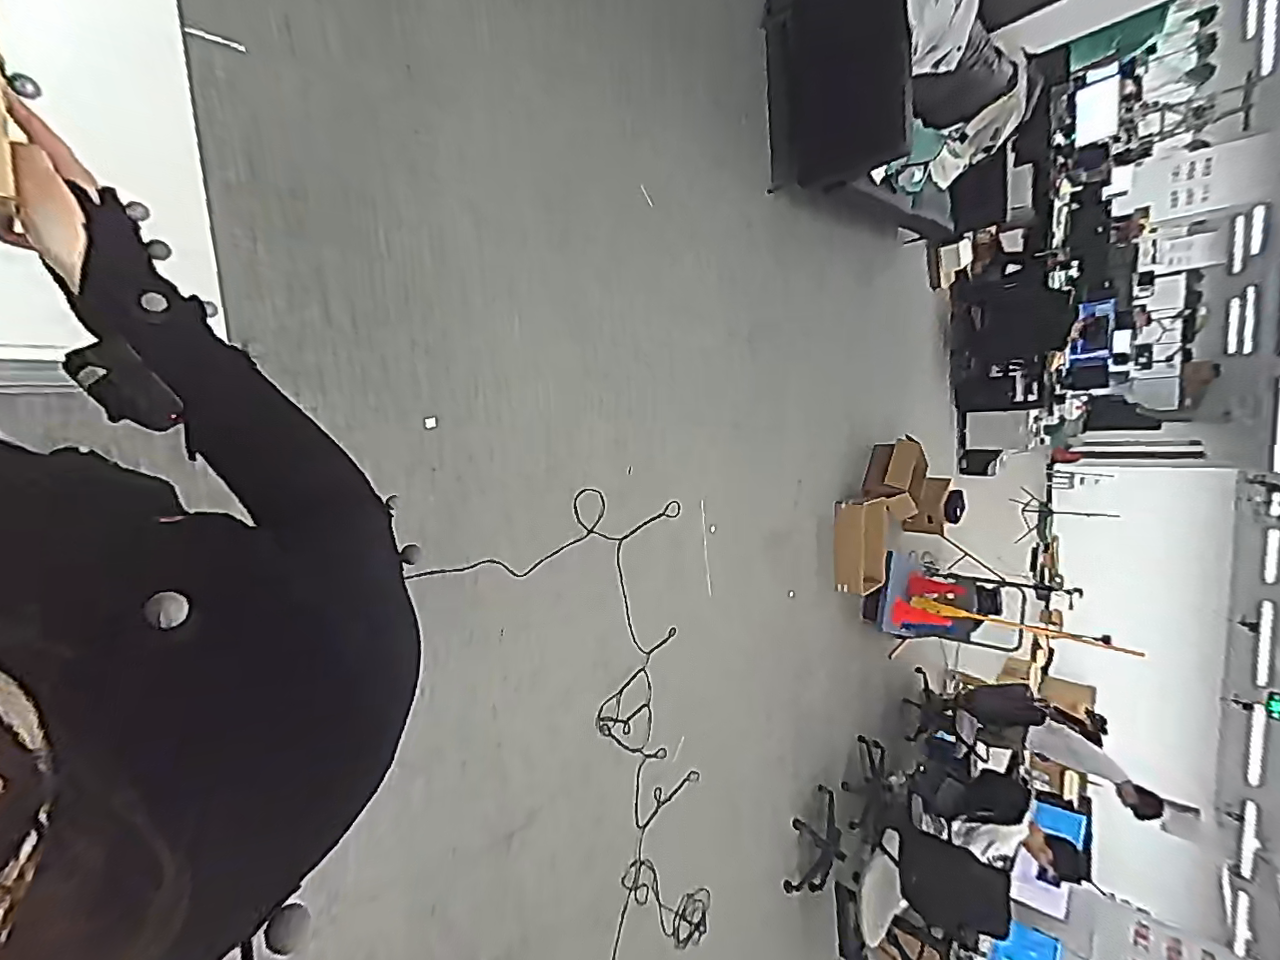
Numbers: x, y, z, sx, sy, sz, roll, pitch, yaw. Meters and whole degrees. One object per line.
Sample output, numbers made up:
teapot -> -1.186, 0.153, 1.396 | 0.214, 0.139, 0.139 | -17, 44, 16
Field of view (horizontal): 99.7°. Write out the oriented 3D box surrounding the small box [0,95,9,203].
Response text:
small box -> -0.446, -0.245, 0.260 | 0.179, 0.176, 0.168 | -7, 105, -49
